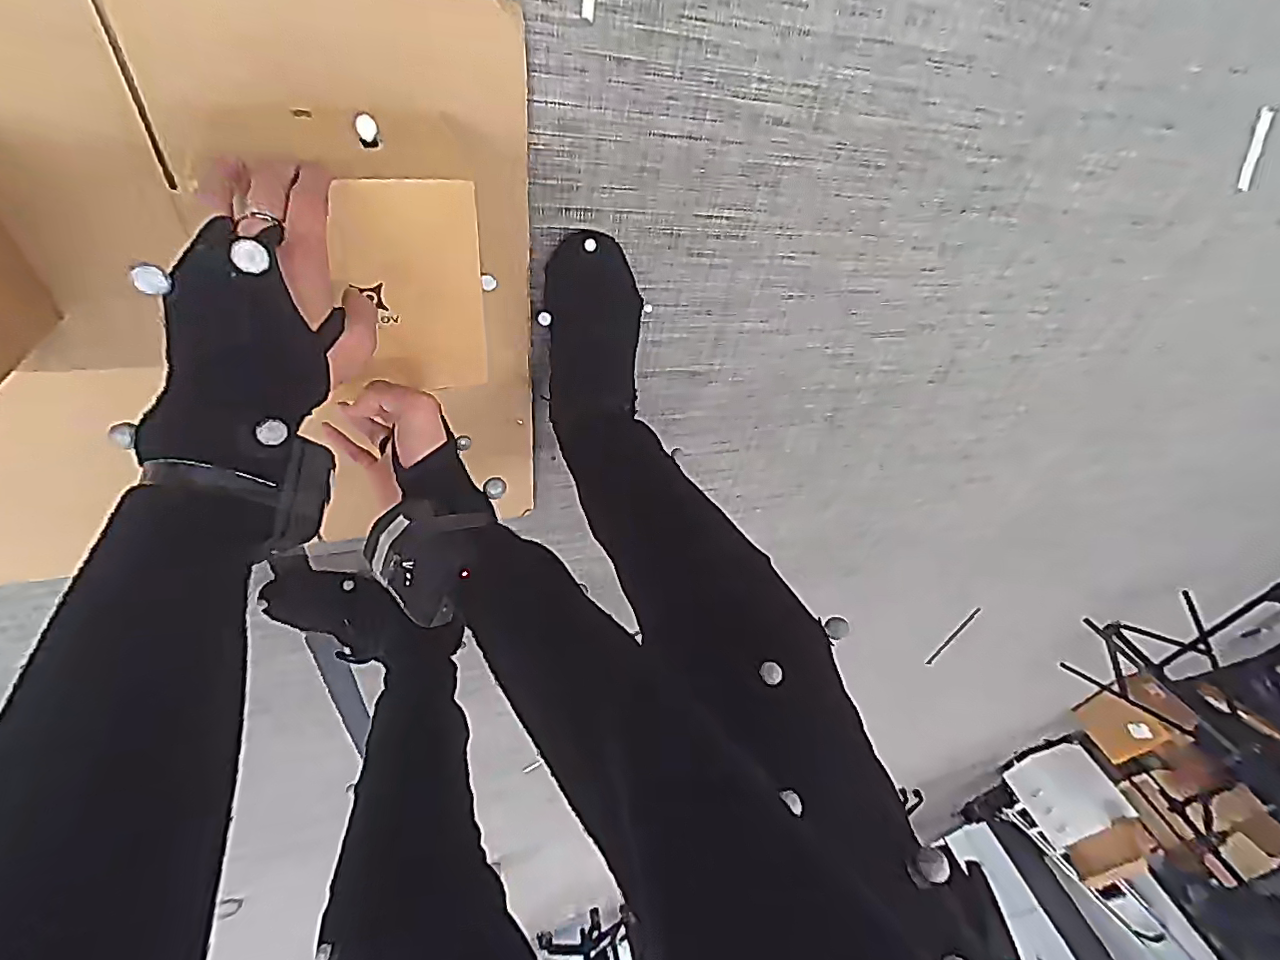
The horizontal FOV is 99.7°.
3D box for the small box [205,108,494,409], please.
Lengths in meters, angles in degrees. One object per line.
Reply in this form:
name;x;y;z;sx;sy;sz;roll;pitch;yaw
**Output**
small box;-0.225;-0.188;0.452;0.168;0.176;0.179;-11;140;-20
